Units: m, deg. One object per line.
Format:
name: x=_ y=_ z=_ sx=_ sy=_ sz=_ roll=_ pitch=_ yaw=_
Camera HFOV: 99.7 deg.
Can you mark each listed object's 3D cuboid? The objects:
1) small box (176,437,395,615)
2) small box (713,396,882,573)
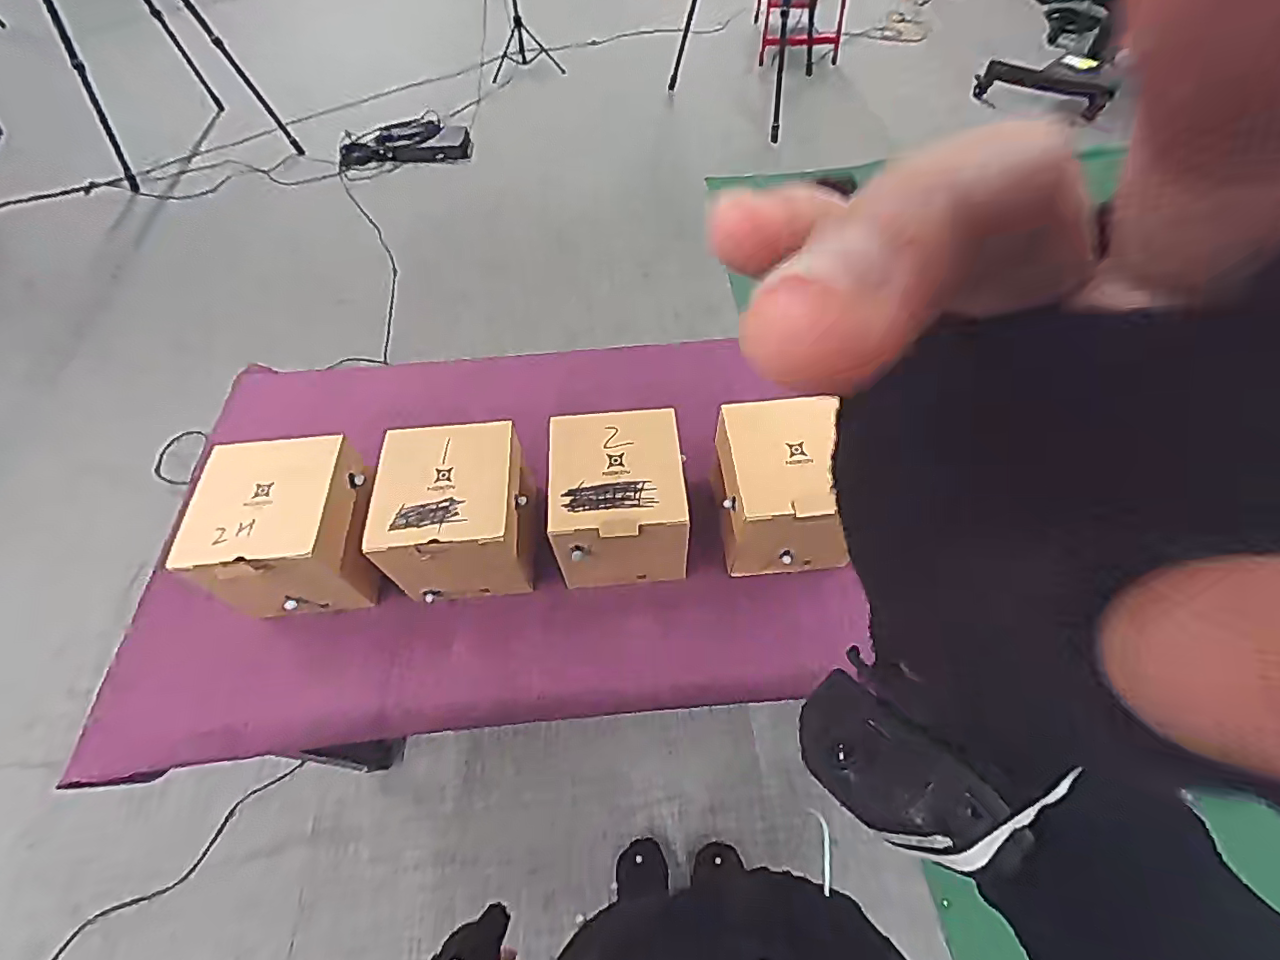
small box: x=-0.452 y=0.065 z=0.728 sx=0.168 sy=0.176 sz=0.179 roll=-5 pitch=58 yaw=-1
small box: x=0.197 y=0.010 z=0.741 sx=0.168 sy=0.176 sz=0.179 roll=-5 pitch=58 yaw=-1
